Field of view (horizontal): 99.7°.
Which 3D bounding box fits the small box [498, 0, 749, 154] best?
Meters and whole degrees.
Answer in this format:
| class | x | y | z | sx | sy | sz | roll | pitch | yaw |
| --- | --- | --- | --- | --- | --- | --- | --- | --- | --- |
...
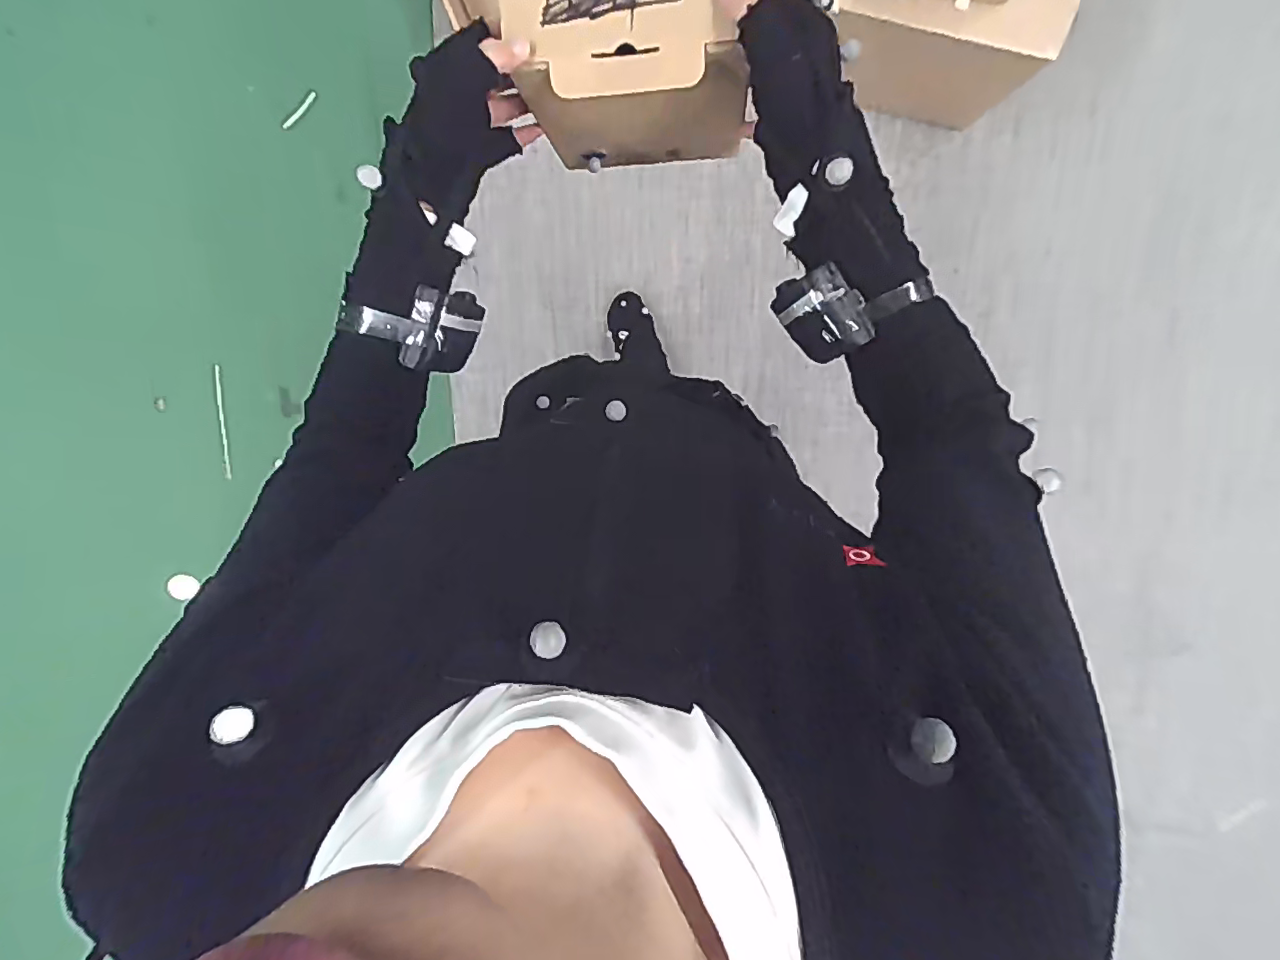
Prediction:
| class | x | y | z | sx | sy | sz | roll | pitch | yaw |
| --- | --- | --- | --- | --- | --- | --- | --- | --- | --- |
| small box | -0.002 | -0.374 | 0.413 | 0.168 | 0.176 | 0.179 | -1 | 98 | 8 |
